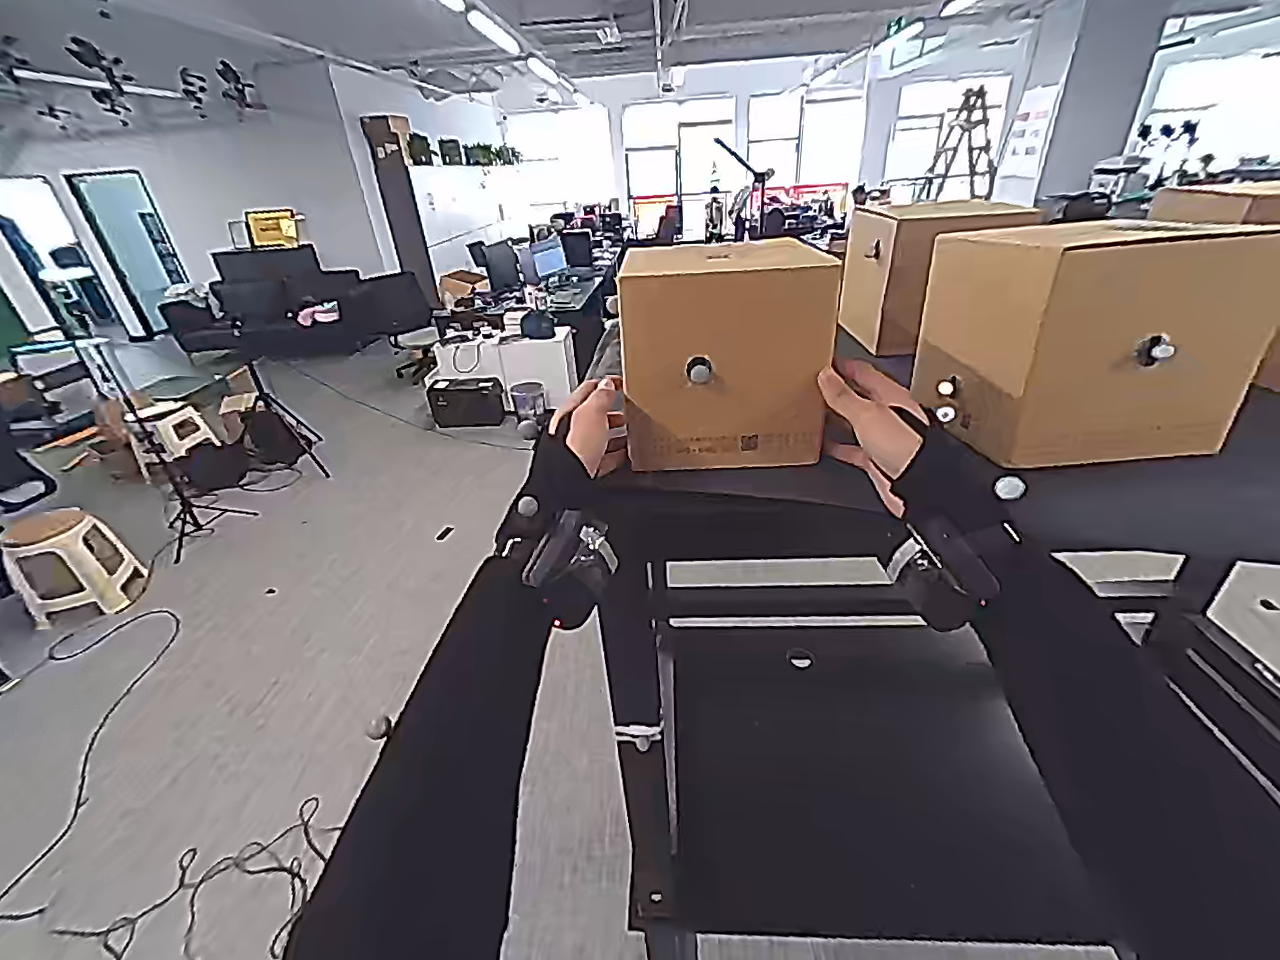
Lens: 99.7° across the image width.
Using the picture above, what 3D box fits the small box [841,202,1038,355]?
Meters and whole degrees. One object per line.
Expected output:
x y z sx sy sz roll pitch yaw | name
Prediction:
0.387 -0.273 0.737 0.168 0.176 0.179 -2 30 3 | small box

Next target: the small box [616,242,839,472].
0.071 -0.115 0.501 0.168 0.176 0.179 -3 29 3 | small box

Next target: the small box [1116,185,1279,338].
0.800 -0.290 0.719 0.168 0.176 0.179 2 30 8 | small box
